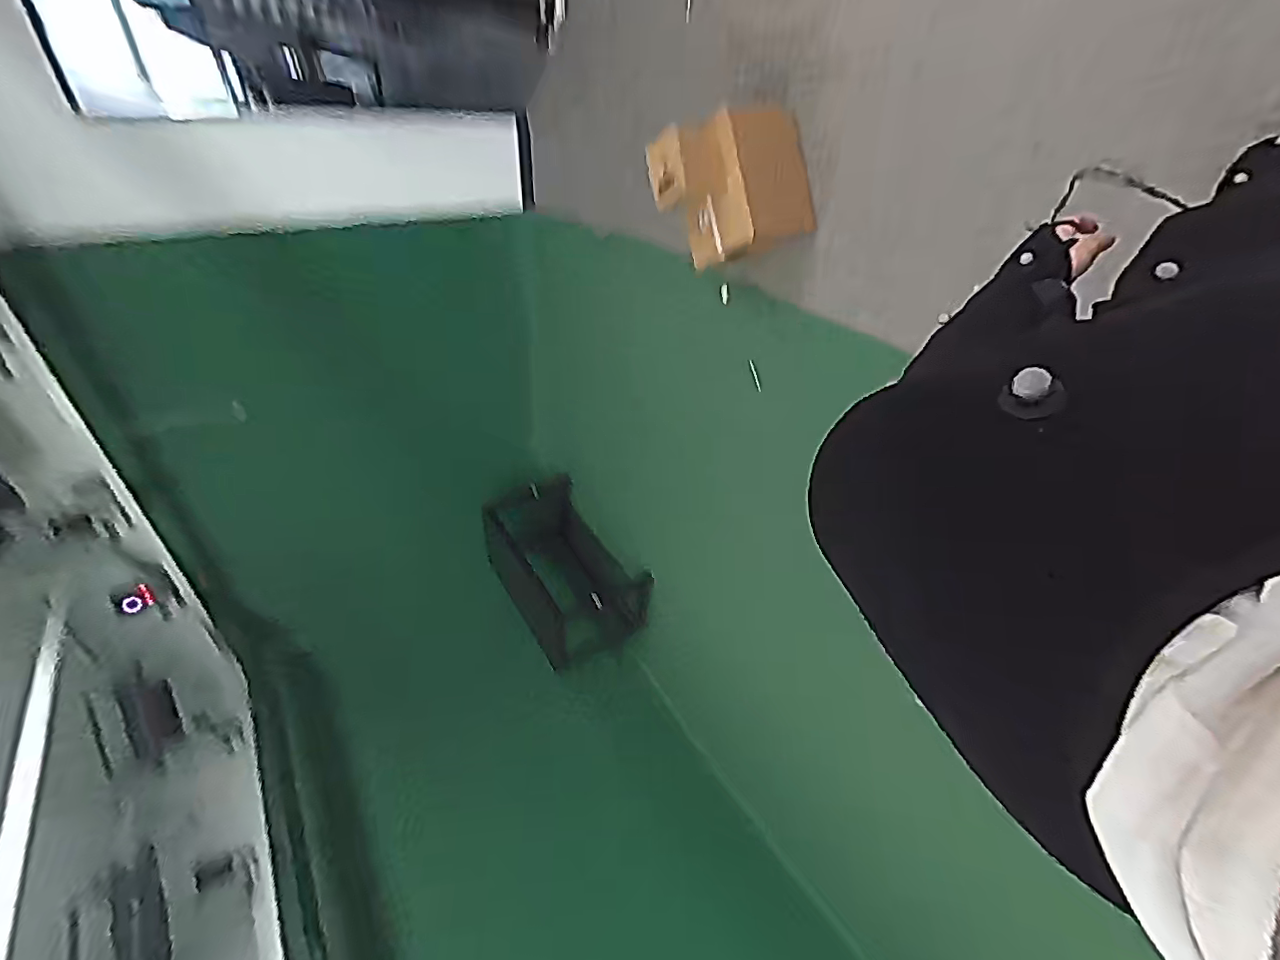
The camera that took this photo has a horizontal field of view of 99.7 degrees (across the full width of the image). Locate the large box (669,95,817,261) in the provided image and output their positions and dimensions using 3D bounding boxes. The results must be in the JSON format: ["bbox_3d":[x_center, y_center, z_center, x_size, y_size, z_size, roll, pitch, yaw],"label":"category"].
[{"bbox_3d":[0.355,-1.025,1.863,0.320,0.320,0.408,1,110,60],"label":"large box"}]
